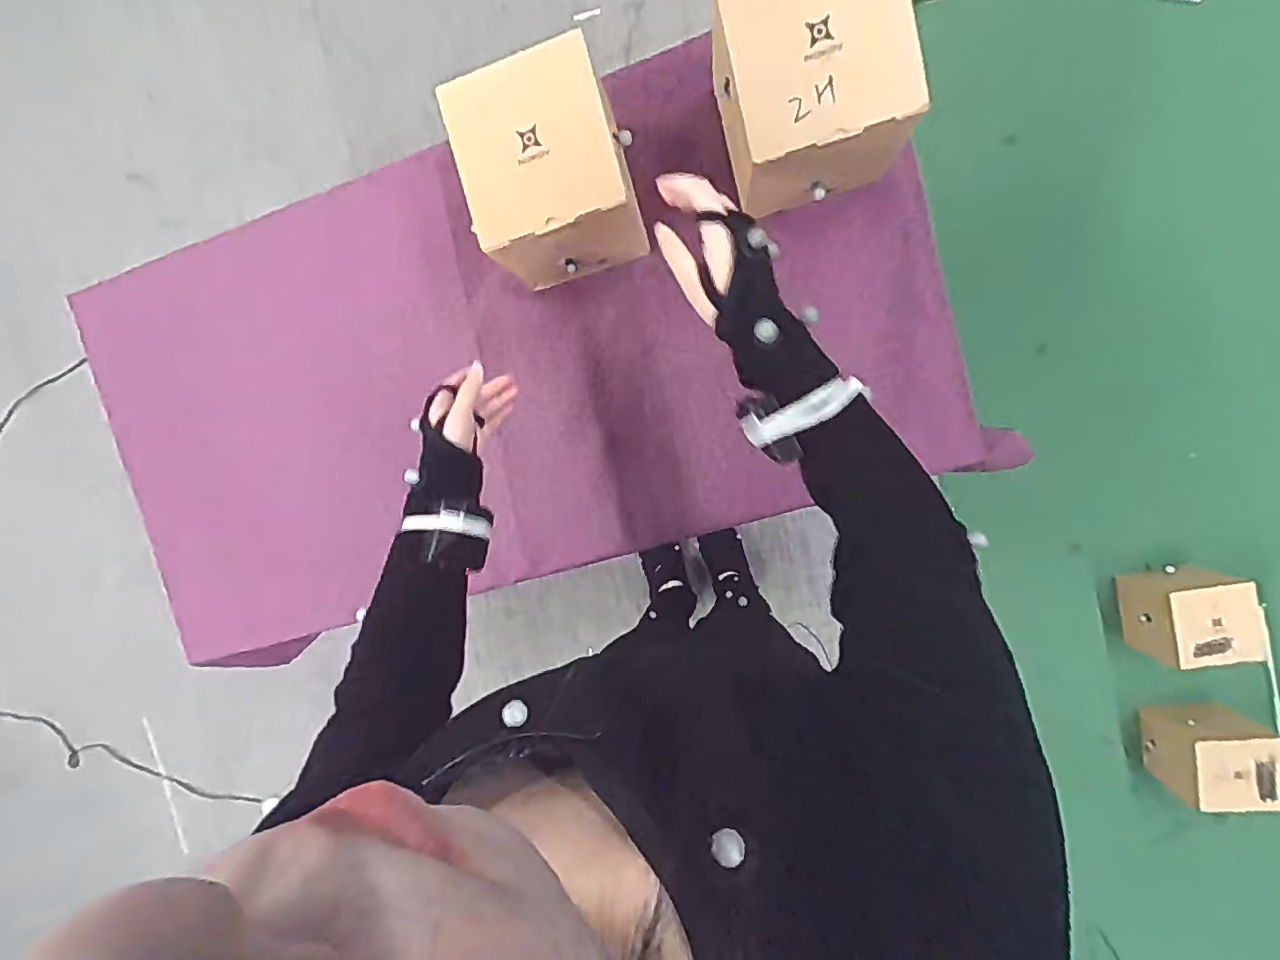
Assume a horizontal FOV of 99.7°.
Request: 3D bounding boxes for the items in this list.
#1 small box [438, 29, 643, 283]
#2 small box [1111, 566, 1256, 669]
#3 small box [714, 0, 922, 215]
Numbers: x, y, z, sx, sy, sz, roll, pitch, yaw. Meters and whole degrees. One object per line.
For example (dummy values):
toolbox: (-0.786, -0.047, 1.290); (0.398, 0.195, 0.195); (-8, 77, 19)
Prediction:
small box: (-0.102, -0.357, 0.634); (0.168, 0.176, 0.179); (-15, 95, 10)
small box: (1.236, 0.310, 1.242); (0.168, 0.176, 0.179); (-10, 93, 9)
small box: (0.175, -0.419, 0.582); (0.168, 0.176, 0.179); (-12, 97, 10)
